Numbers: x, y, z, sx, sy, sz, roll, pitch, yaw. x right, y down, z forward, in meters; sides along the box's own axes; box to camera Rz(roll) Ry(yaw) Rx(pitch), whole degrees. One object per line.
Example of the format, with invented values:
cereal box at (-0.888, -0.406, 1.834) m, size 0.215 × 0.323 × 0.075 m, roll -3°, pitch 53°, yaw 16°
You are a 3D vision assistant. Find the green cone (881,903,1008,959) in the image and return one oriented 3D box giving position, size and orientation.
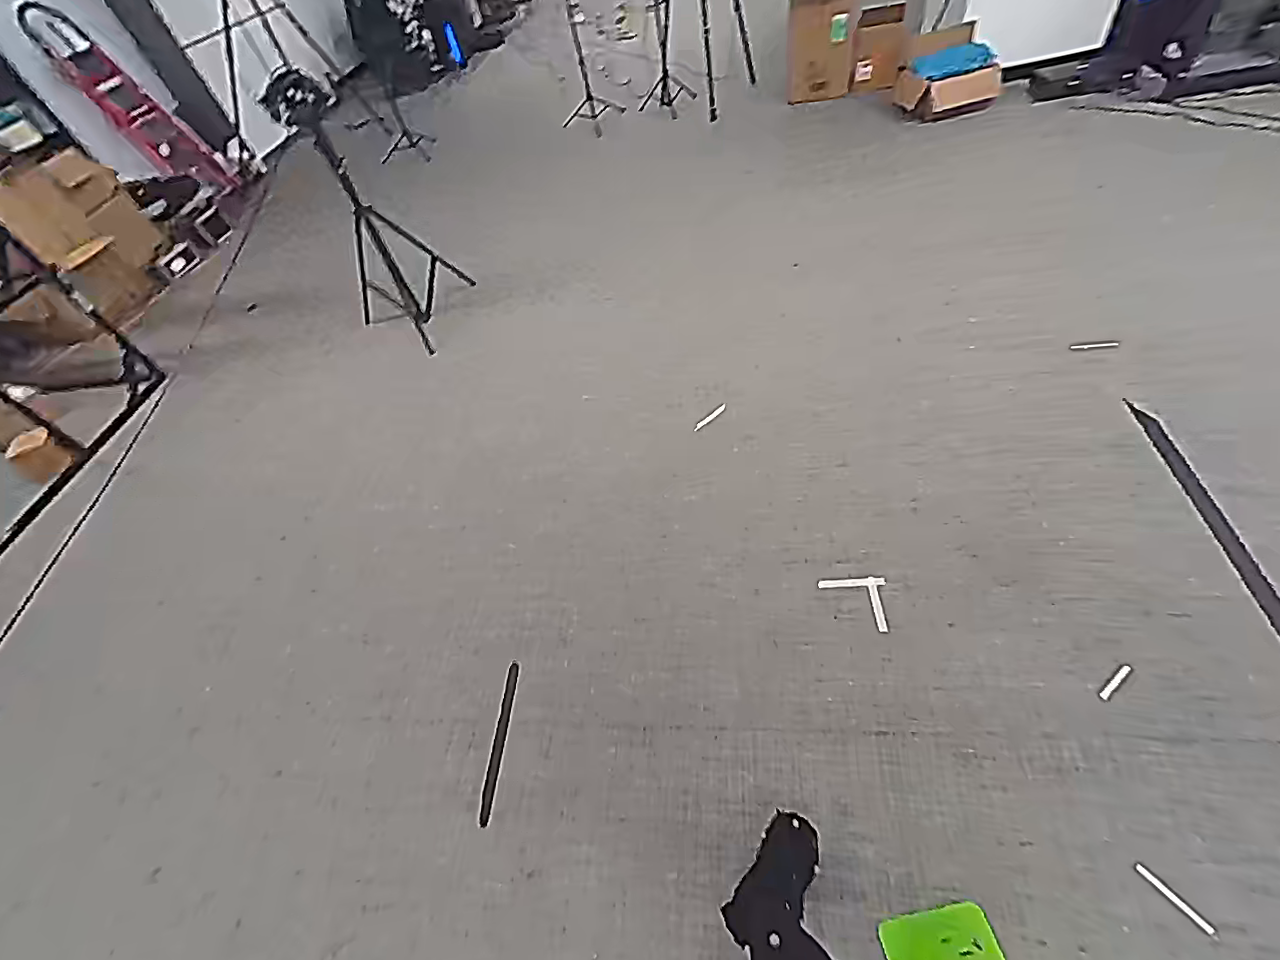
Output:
green cone at (0.531, 0.781, 0.831) m, size 0.200 × 0.368 × 0.202 m, roll -15°, pitch 48°, yaw 1°
